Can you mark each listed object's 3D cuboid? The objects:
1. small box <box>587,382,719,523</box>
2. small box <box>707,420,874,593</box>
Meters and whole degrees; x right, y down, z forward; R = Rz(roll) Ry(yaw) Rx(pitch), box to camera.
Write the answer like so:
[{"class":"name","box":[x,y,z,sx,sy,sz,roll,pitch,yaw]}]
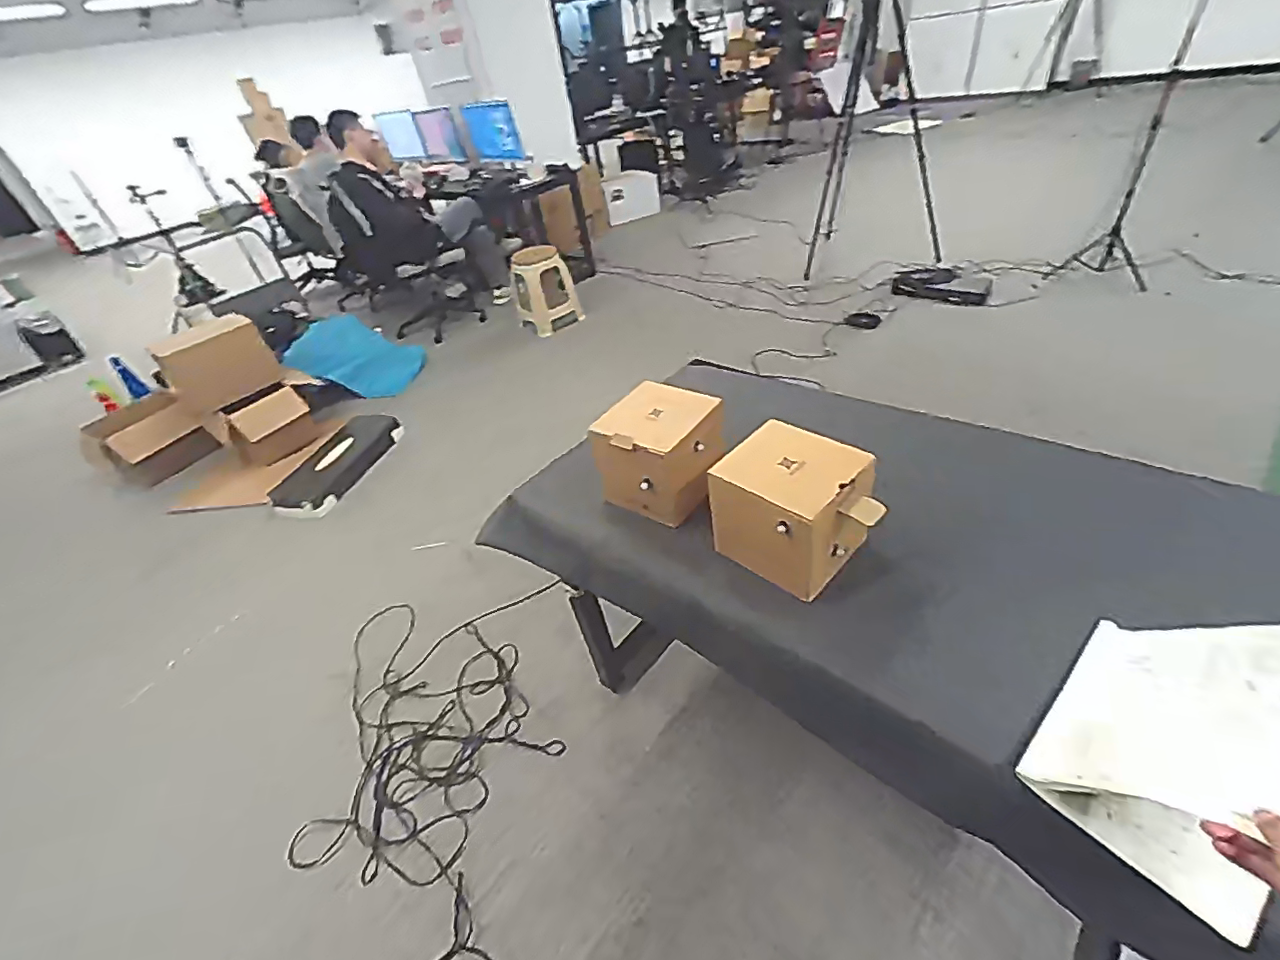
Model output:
[{"class":"small box","box":[0.034,-0.050,0.972,0.168,0.176,0.179,20,47,31]},{"class":"small box","box":[0.223,0.038,0.817,0.179,0.176,0.168,28,52,38]}]
